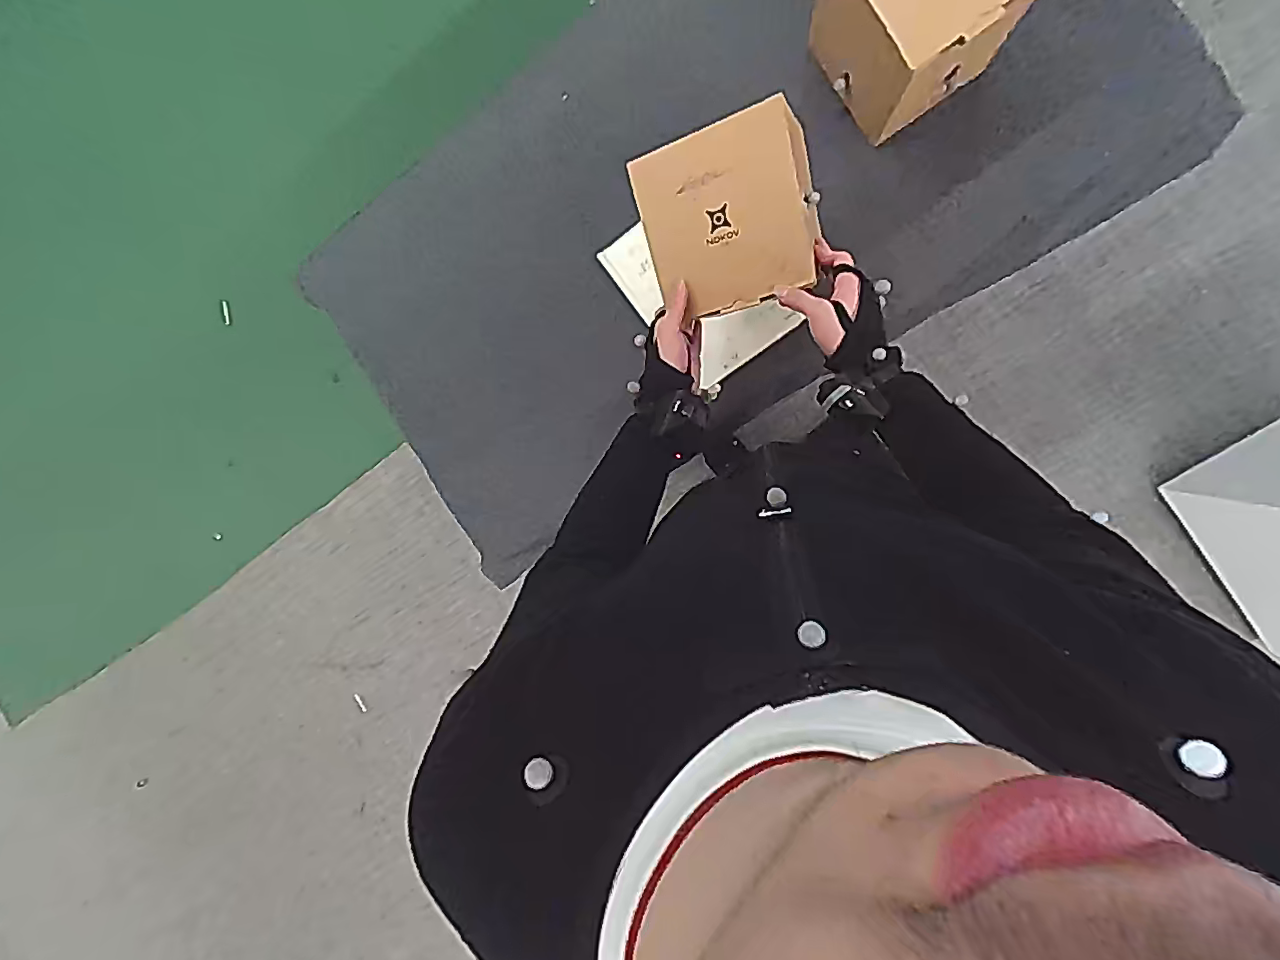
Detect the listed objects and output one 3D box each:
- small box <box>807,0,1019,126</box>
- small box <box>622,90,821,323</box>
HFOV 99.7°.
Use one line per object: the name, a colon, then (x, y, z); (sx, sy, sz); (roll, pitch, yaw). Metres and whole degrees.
small box: (0.327, -0.575, 0.657); (0.168, 0.176, 0.179); (-33, 92, 11)
small box: (0.104, -0.294, 0.613); (0.168, 0.176, 0.179); (-9, 108, 25)
